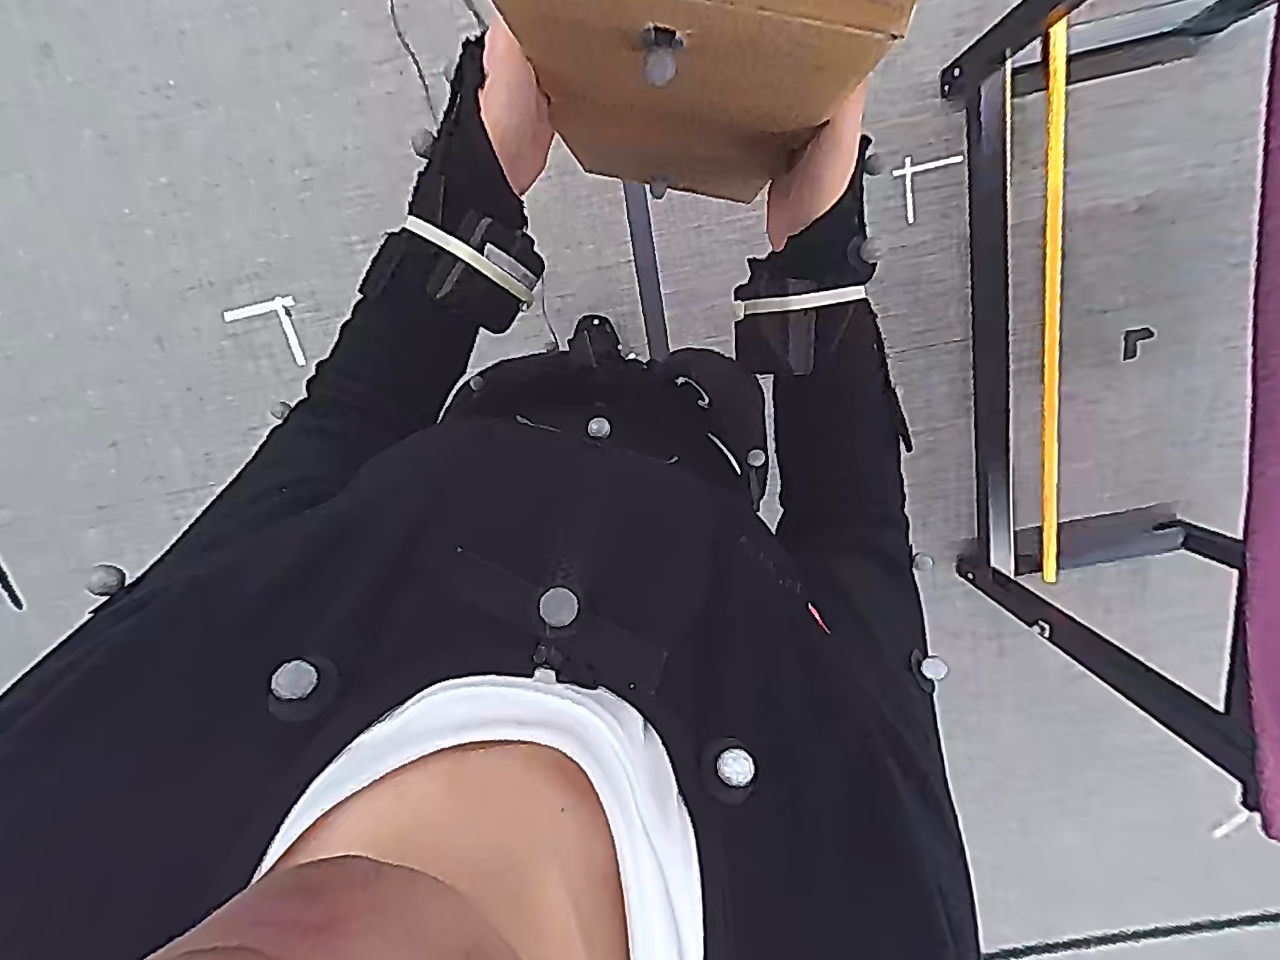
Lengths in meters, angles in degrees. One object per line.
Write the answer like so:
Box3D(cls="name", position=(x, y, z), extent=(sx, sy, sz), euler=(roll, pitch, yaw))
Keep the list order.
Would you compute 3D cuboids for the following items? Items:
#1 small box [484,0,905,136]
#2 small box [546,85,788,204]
Box3D(cls="small box", position=(0.033, -0.287, 0.258), extent=(0.179, 0.176, 0.168), euler=(11, 109, 1))
Box3D(cls="small box", position=(0.035, -0.332, 0.414), extent=(0.168, 0.176, 0.179), euler=(11, 110, 0))
